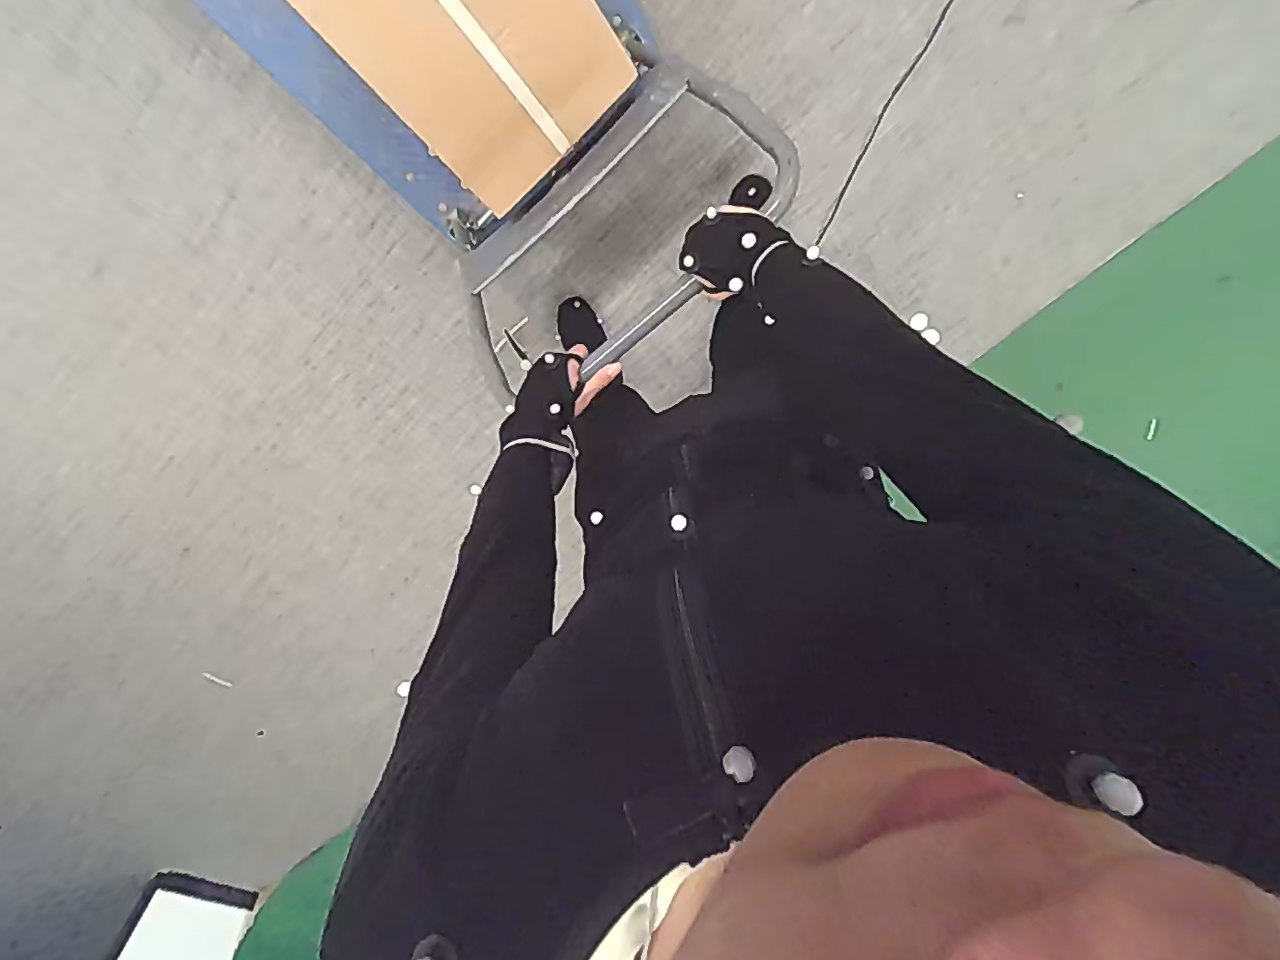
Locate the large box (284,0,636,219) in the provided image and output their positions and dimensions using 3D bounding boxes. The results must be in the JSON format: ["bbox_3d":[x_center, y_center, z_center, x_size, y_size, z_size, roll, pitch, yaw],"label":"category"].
[{"bbox_3d":[-0.271,-0.726,0.874,0.320,0.320,0.408,-37,132,16],"label":"large box"}]
